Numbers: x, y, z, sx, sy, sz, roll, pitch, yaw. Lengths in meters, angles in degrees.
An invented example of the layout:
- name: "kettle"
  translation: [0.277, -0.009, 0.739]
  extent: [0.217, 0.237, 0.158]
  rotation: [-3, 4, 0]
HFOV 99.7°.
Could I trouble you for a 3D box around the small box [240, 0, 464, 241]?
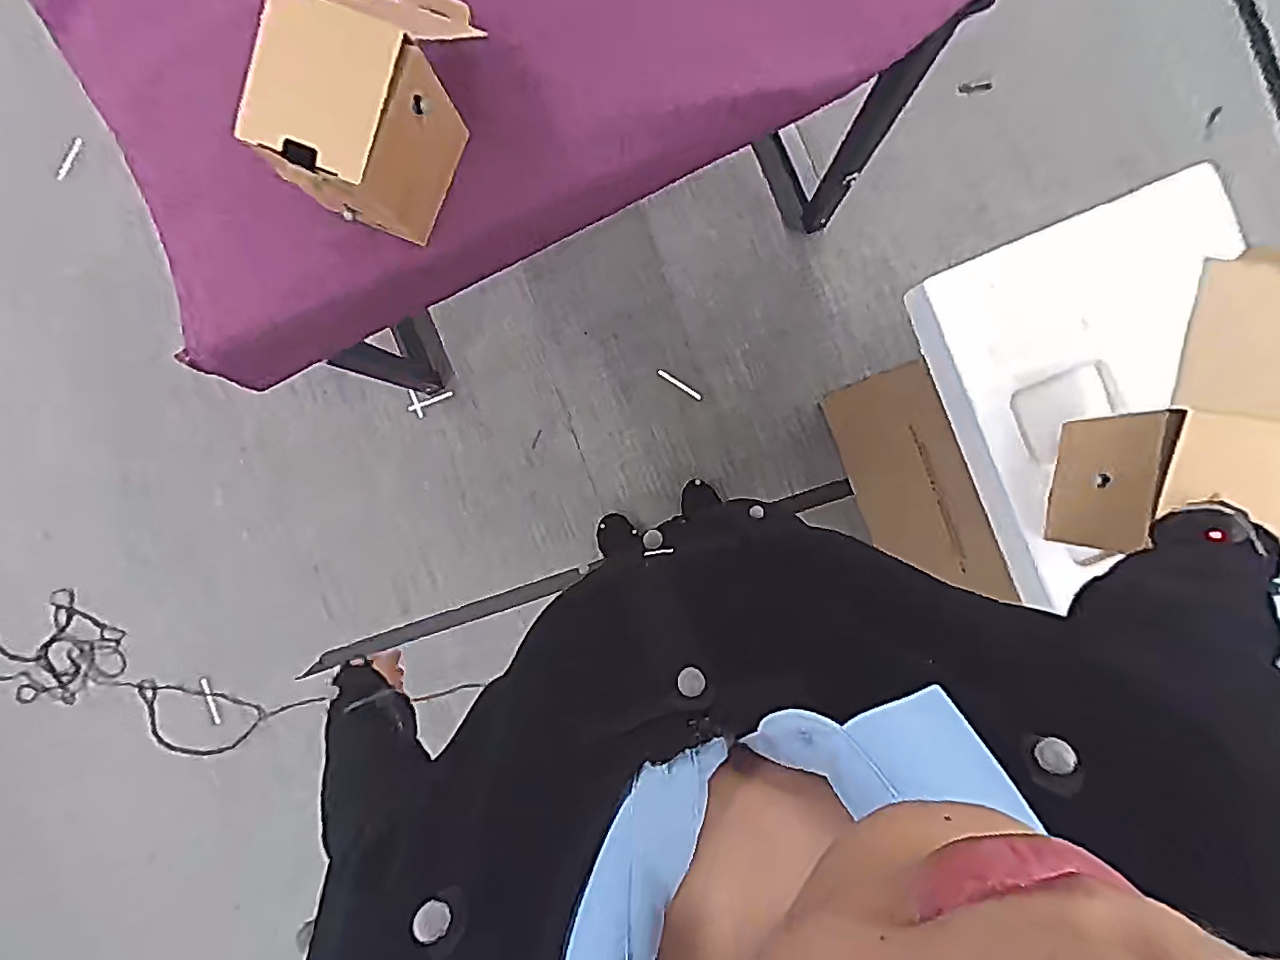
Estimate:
- name: "small box"
  translation: [-0.351, -0.449, 0.697]
  extent: [0.168, 0.176, 0.179]
  rotation: [23, 92, 4]
